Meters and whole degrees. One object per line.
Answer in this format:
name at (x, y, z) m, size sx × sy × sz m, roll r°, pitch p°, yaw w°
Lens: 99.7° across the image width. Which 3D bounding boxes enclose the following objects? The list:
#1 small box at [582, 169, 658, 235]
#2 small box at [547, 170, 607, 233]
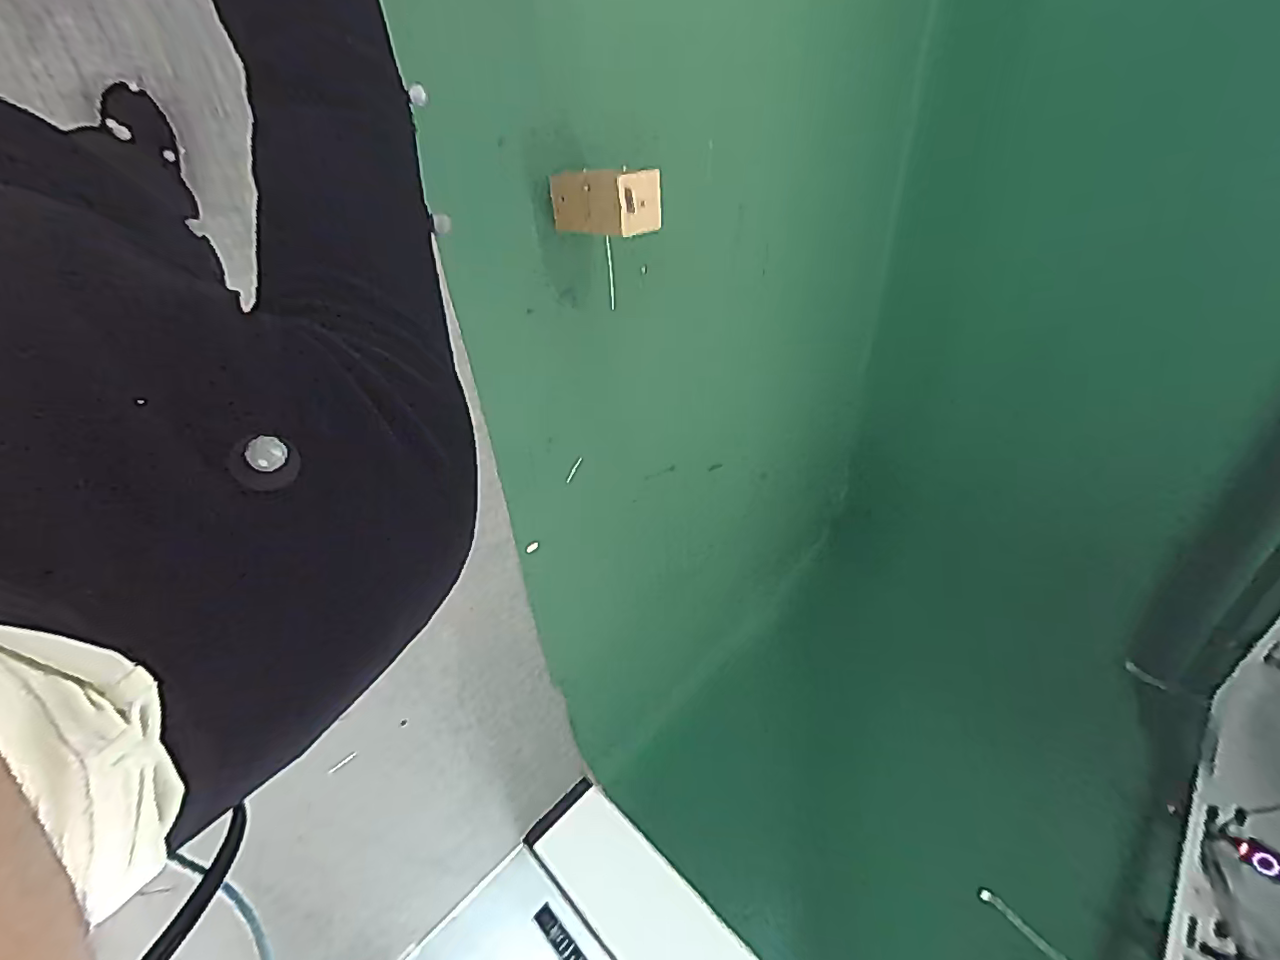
small box at (-0.066, -0.869, 1.688) m, size 0.179 × 0.176 × 0.168 m, roll -32°, pitch 133°, yaw -35°
small box at (-0.181, -0.926, 1.789) m, size 0.179 × 0.176 × 0.168 m, roll -31°, pitch 132°, yaw -34°
